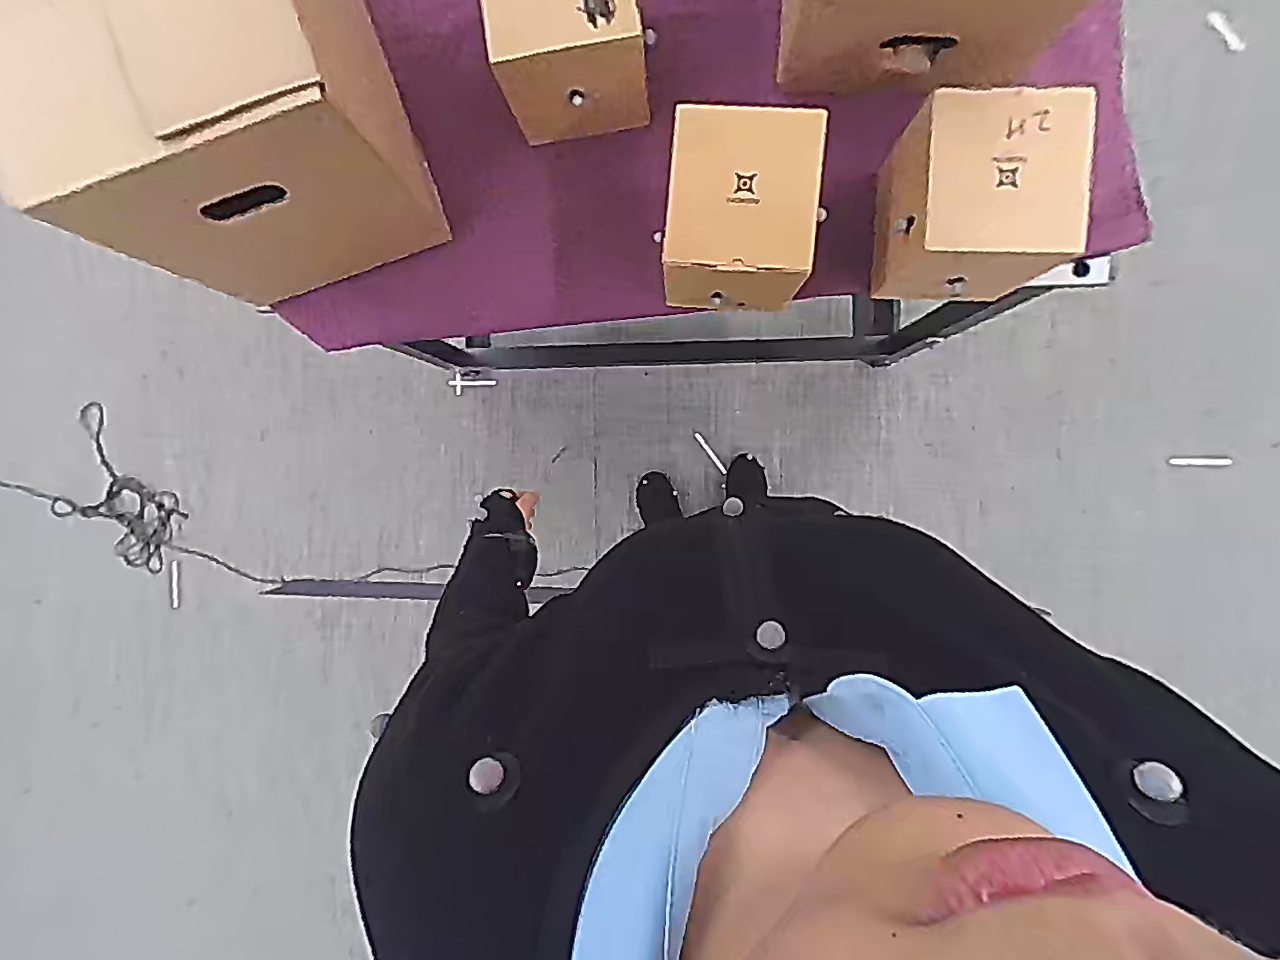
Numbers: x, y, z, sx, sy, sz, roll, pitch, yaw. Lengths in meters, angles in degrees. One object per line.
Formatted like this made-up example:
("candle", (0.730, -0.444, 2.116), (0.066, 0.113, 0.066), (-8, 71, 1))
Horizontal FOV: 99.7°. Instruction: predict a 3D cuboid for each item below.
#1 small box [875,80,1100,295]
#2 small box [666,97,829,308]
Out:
("small box", (0.395, -0.332, 0.646), (0.168, 0.176, 0.179), (3, 91, 4))
("small box", (0.121, -0.328, 0.668), (0.168, 0.176, 0.179), (5, 94, 4))
